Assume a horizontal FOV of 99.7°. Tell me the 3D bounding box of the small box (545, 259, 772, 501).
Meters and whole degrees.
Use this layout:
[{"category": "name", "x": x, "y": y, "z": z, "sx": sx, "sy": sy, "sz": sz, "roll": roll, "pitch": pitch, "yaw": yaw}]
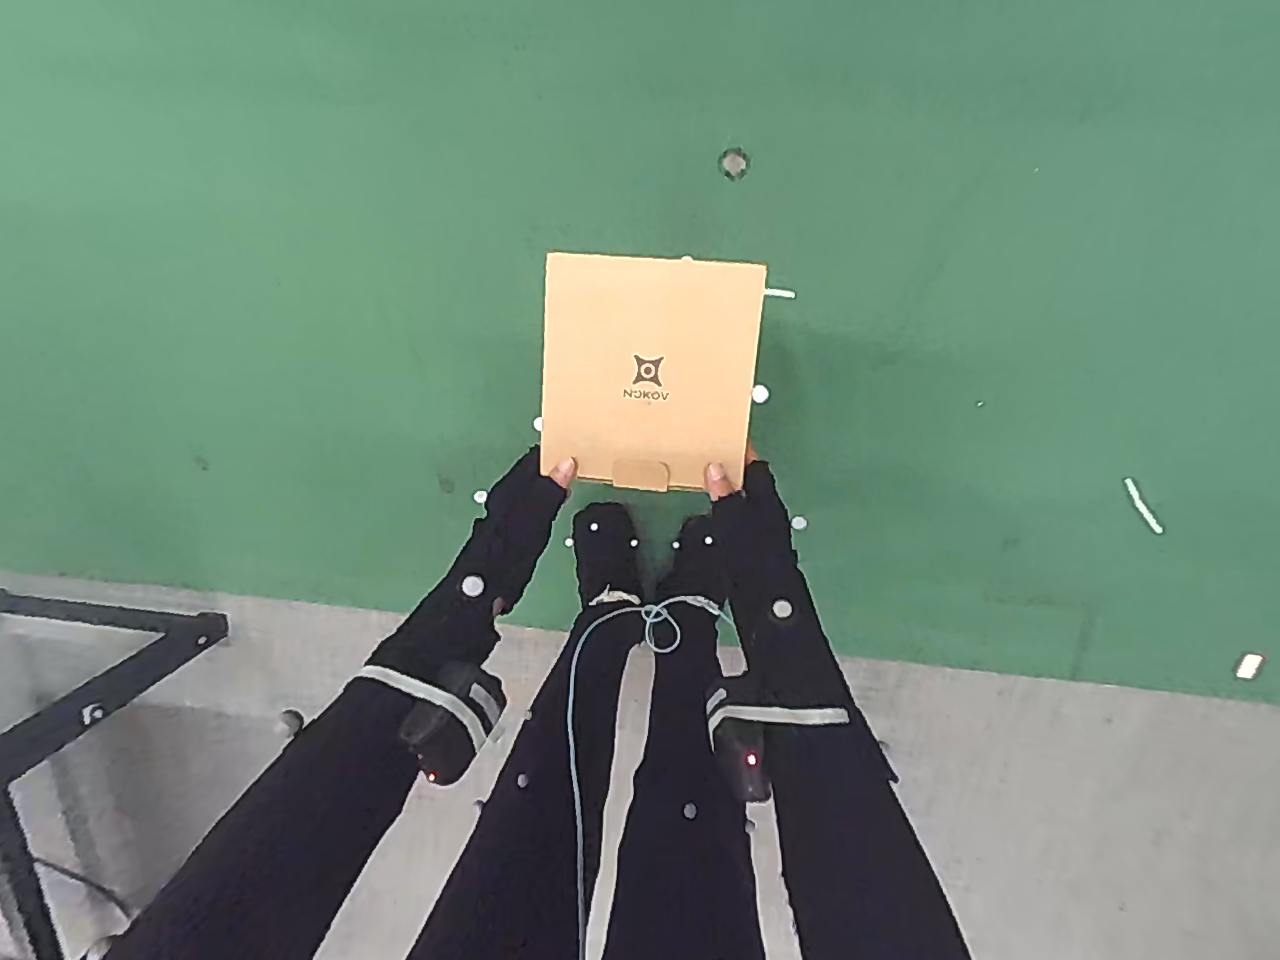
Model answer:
[{"category": "small box", "x": 0.016, "y": -0.091, "z": 0.497, "sx": 0.168, "sy": 0.176, "sz": 0.179, "roll": 5, "pitch": 103, "yaw": 4}]
